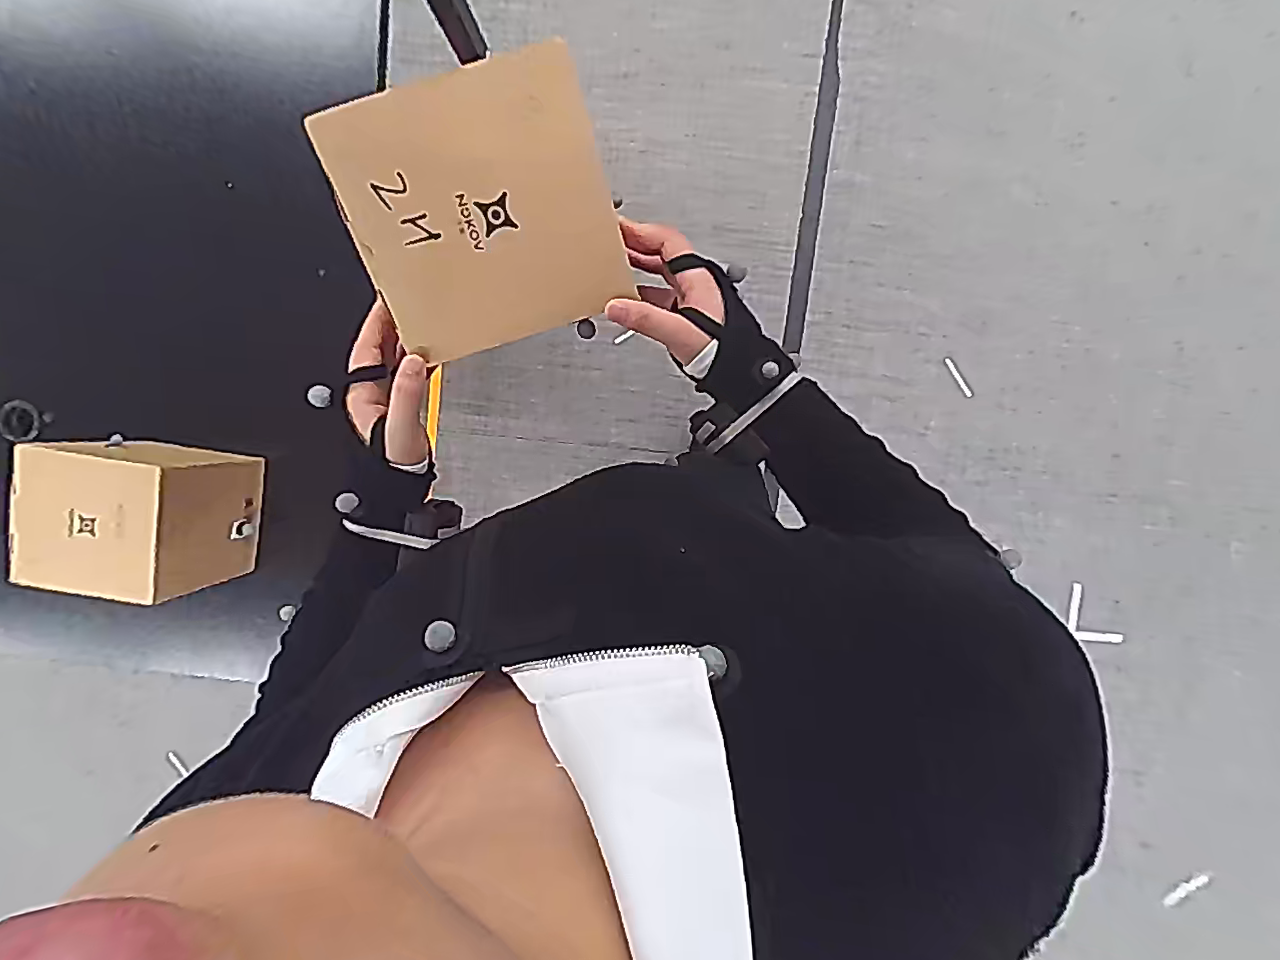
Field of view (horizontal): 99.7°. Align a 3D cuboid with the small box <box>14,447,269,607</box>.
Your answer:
[{"bbox_3d":[-0.629,0.049,0.700,0.179,0.176,0.168,8,96,1],"label":"small box"}]

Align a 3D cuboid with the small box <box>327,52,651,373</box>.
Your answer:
[{"bbox_3d":[-0.103,-0.202,0.441,0.179,0.176,0.168,-16,111,1],"label":"small box"}]
